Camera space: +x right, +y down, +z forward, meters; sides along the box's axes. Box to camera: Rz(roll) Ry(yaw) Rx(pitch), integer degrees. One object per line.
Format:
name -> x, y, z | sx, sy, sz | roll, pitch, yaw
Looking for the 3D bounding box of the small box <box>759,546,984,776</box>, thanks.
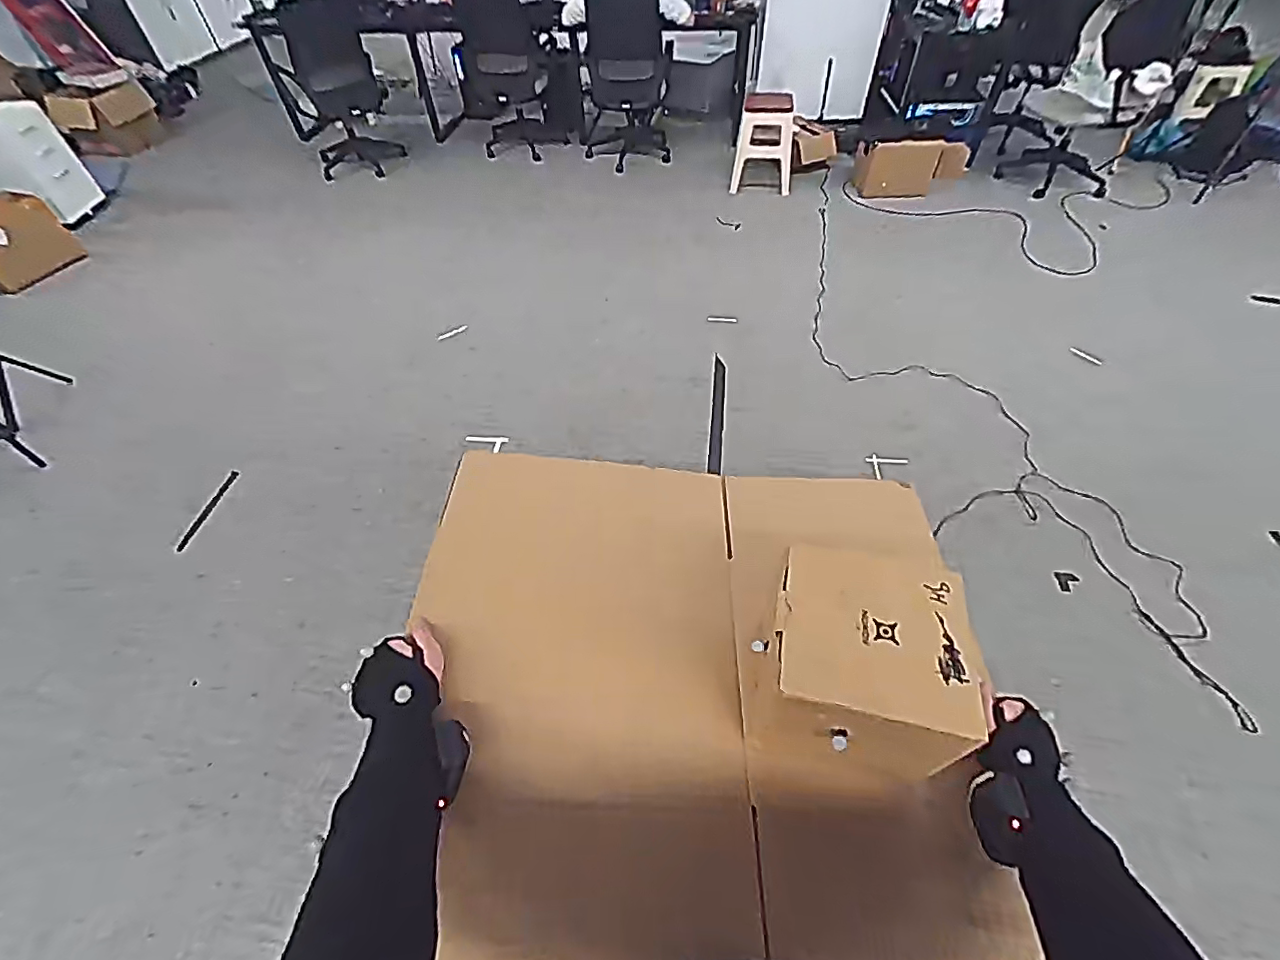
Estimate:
small box -> 0.229, 0.196, 0.581 | 0.179, 0.176, 0.168 | 9, 50, 10
